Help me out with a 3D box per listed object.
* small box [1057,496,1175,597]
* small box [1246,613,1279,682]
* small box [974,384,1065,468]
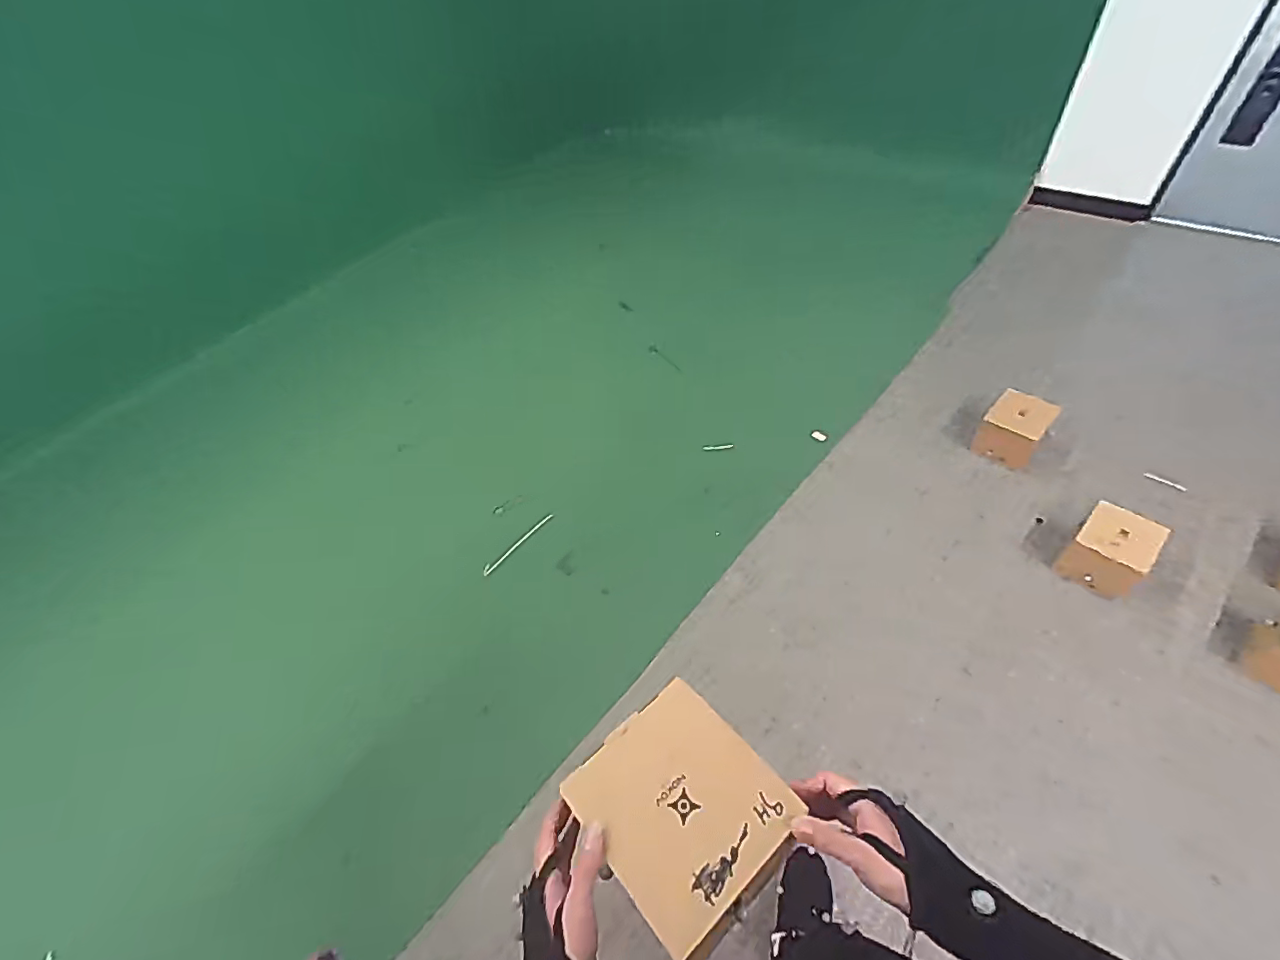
[{"bbox_3d":[1.298,0.185,1.488,0.168,0.176,0.179,35,67,32],"label":"small box"},{"bbox_3d":[1.597,0.404,1.261,0.179,0.176,0.168,36,68,31],"label":"small box"},{"bbox_3d":[1.235,-0.175,1.774,0.179,0.176,0.168,-42,56,-18],"label":"small box"}]
